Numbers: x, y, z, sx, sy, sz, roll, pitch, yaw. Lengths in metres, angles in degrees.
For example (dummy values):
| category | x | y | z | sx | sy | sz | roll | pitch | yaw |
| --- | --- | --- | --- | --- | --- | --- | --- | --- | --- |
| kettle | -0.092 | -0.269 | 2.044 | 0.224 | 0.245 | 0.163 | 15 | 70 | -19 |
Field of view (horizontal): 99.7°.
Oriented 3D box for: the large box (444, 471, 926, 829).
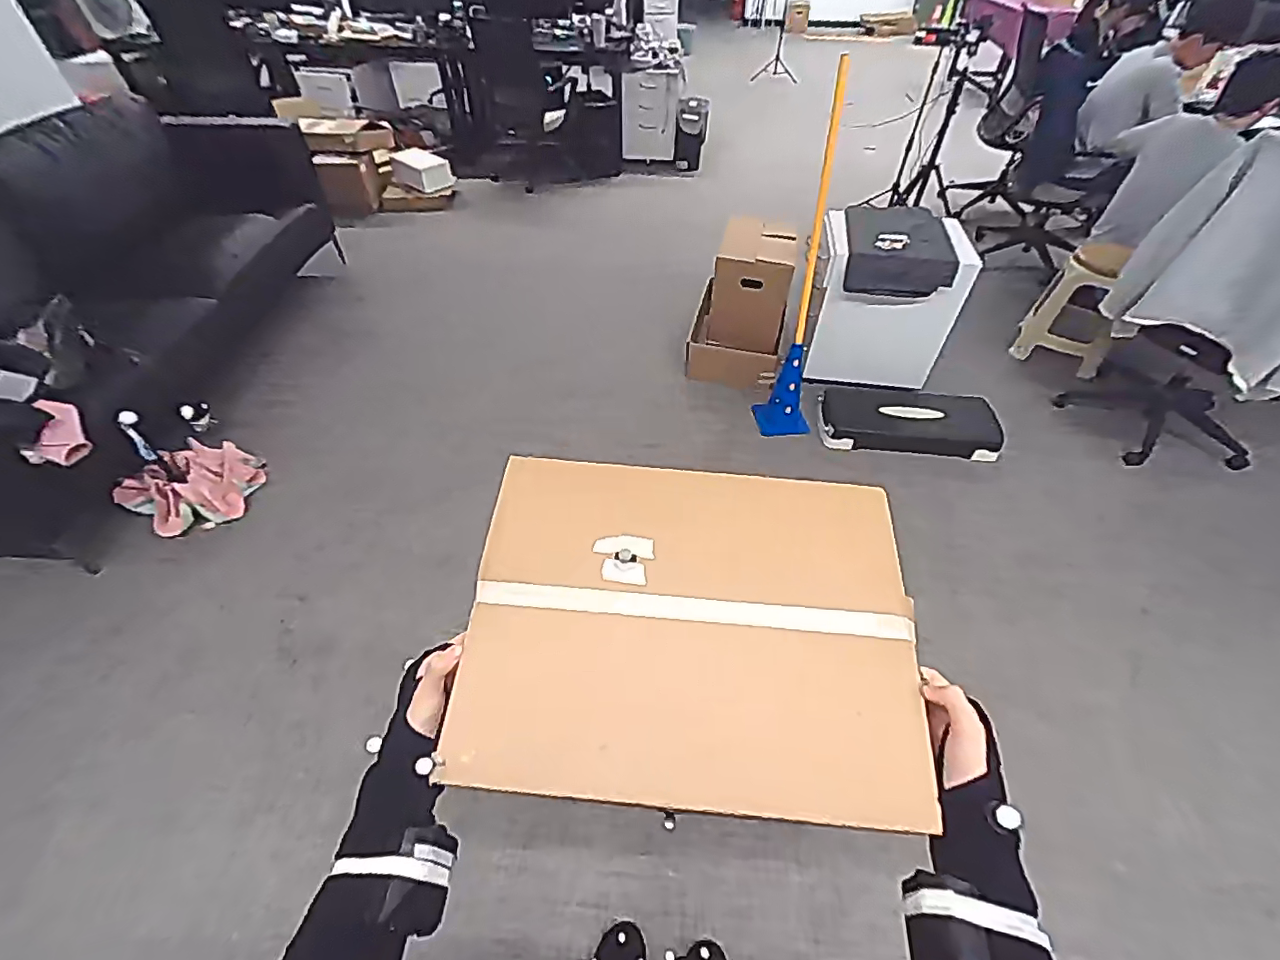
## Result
| category | x | y | z | sx | sy | sz | roll | pitch | yaw |
| --- | --- | --- | --- | --- | --- | --- | --- | --- | --- |
| large box | 0.047 | 0.208 | 0.643 | 0.408 | 0.320 | 0.320 | 4 | 59 | 3 |
